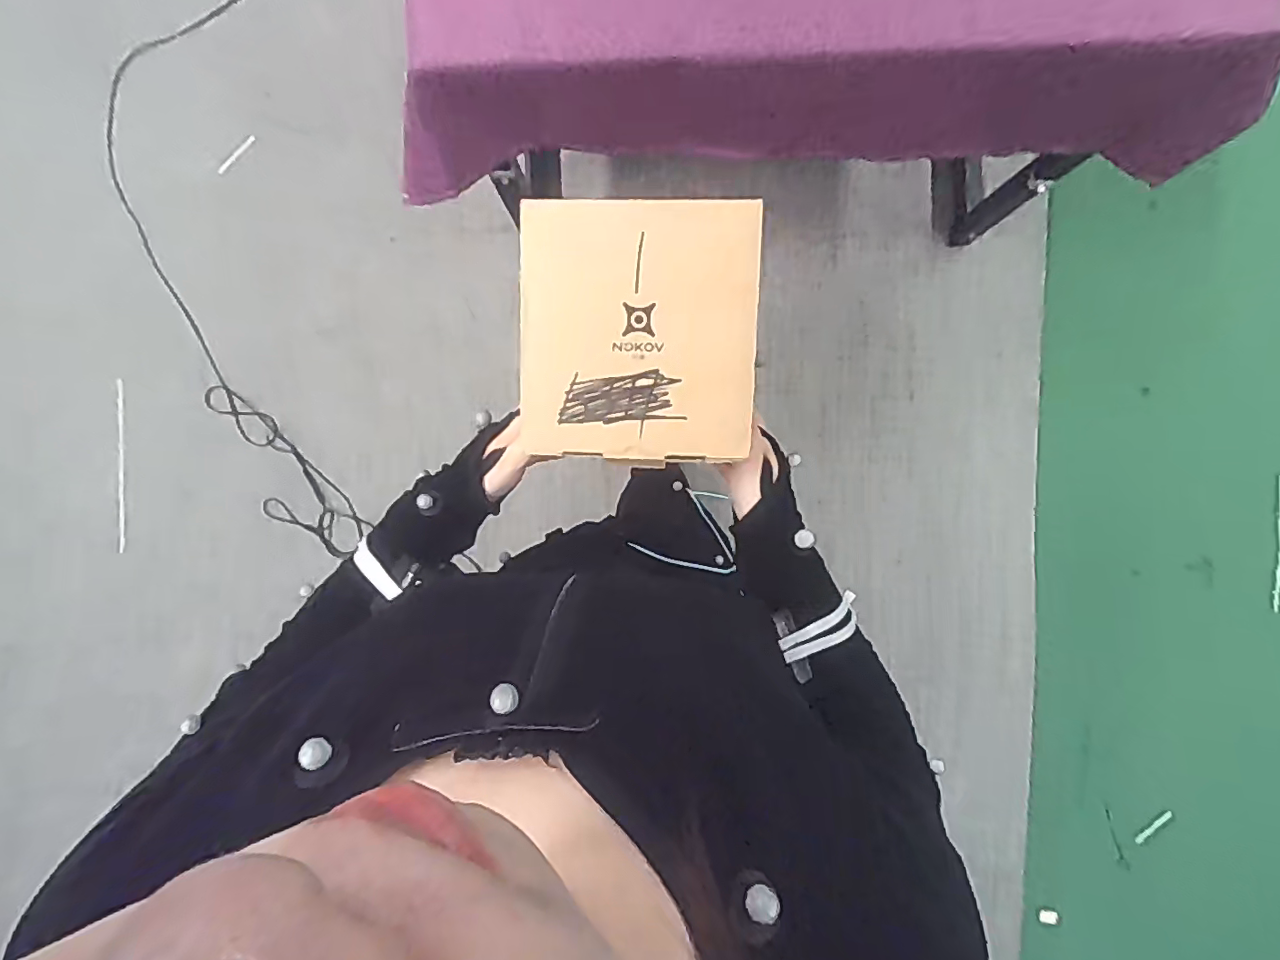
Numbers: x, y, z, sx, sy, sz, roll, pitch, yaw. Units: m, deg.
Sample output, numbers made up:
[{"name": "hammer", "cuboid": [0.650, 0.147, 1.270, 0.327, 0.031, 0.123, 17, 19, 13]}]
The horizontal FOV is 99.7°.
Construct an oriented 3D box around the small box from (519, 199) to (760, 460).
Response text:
[{"name": "small box", "cuboid": [0.003, -0.113, 0.456, 0.168, 0.176, 0.179, 2, 96, 3]}]
